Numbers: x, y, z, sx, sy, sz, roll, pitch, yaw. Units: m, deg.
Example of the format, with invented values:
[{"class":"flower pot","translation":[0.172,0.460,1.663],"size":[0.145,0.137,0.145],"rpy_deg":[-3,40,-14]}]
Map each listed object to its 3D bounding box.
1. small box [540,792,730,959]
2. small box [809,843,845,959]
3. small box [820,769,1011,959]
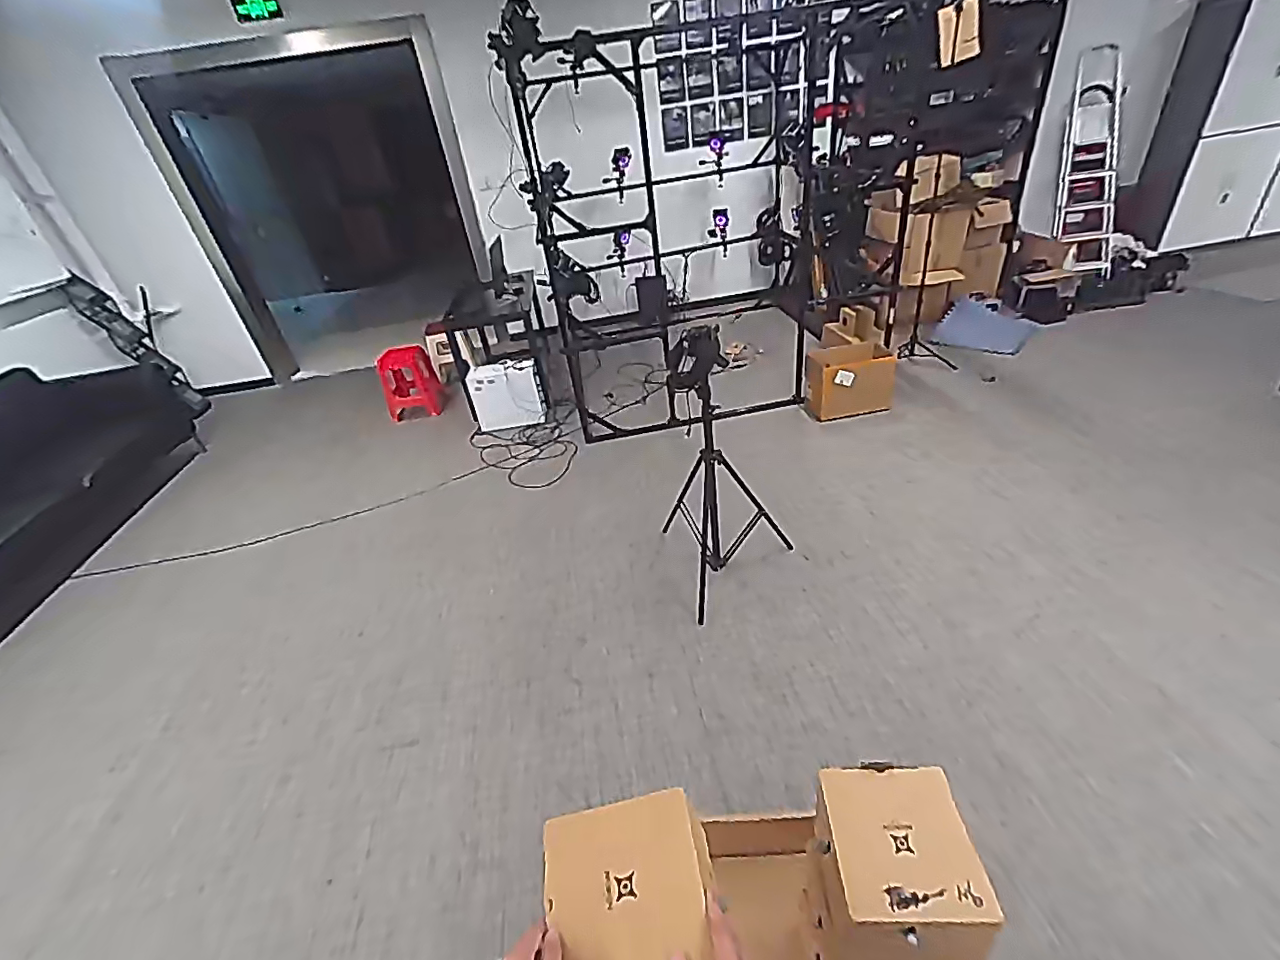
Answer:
[{"class":"small box","translation":[-0.002,0.489,0.616],"size":[0.179,0.176,0.168],"rpy_deg":[-17,40,3]},{"class":"small box","translation":[0.354,0.644,0.780],"size":[0.179,0.176,0.168],"rpy_deg":[-8,32,3]},{"class":"small box","translation":[0.333,0.504,0.696],"size":[0.168,0.176,0.179],"rpy_deg":[-6,32,8]}]
